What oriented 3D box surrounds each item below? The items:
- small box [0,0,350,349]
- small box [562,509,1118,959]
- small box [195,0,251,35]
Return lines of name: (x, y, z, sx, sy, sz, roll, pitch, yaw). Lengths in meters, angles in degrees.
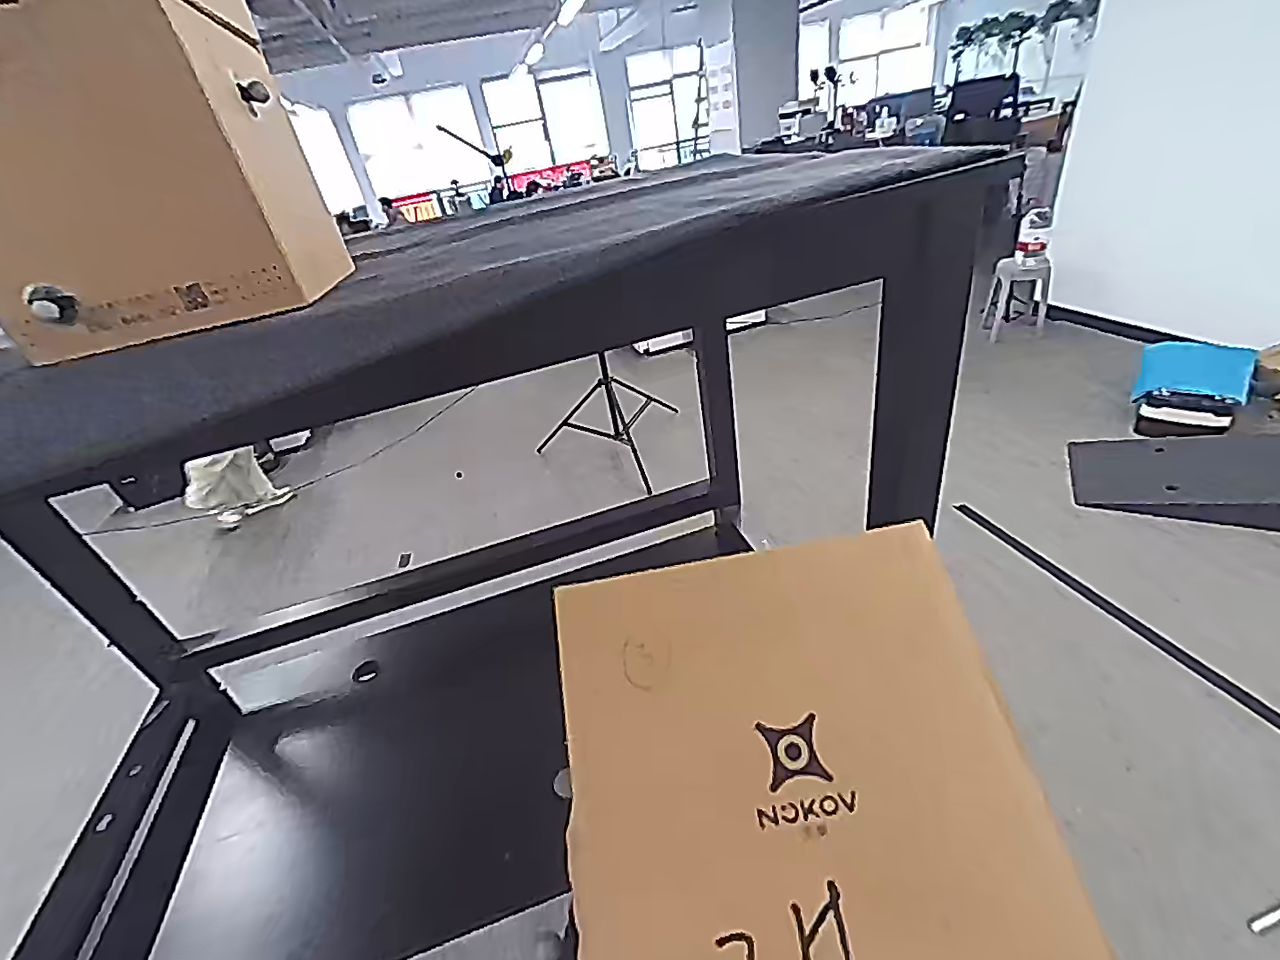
small box: (-0.328, -0.201, 0.372, 0.168, 0.176, 0.179, -17, 31, -9)
small box: (0.064, 0.137, 0.270, 0.168, 0.176, 0.179, -11, 64, 1)
small box: (-0.355, -0.338, 0.290, 0.168, 0.176, 0.179, -17, 32, -7)
